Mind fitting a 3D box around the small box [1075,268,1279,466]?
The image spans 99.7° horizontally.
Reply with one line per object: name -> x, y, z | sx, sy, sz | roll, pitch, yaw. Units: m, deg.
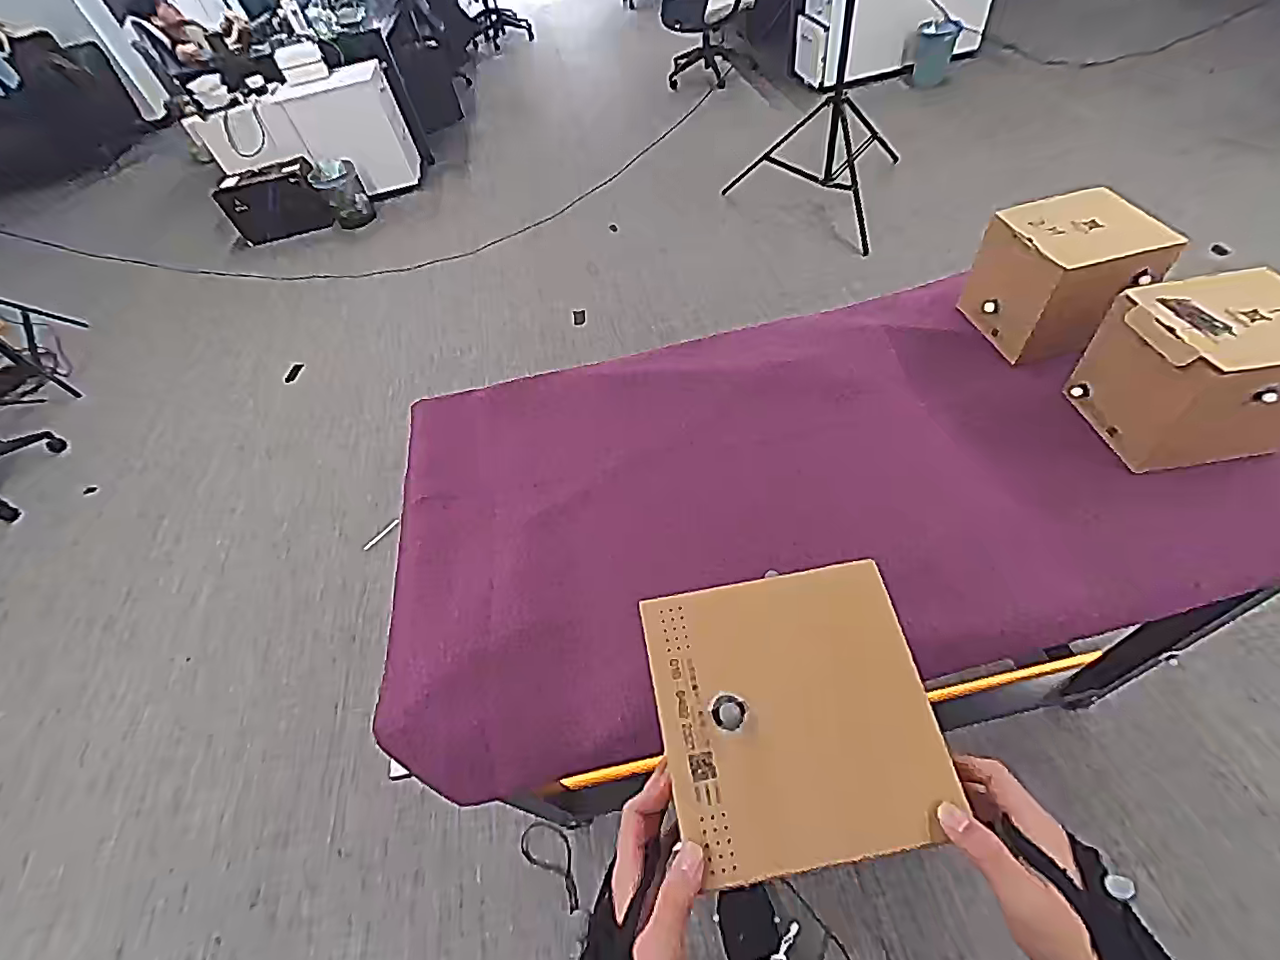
small box -> 0.698, -0.135, 0.679 | 0.179, 0.176, 0.168 | -9, 50, 3

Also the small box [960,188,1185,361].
small box -> 0.635, -0.309, 0.825 | 0.179, 0.176, 0.168 | -13, 52, 0
